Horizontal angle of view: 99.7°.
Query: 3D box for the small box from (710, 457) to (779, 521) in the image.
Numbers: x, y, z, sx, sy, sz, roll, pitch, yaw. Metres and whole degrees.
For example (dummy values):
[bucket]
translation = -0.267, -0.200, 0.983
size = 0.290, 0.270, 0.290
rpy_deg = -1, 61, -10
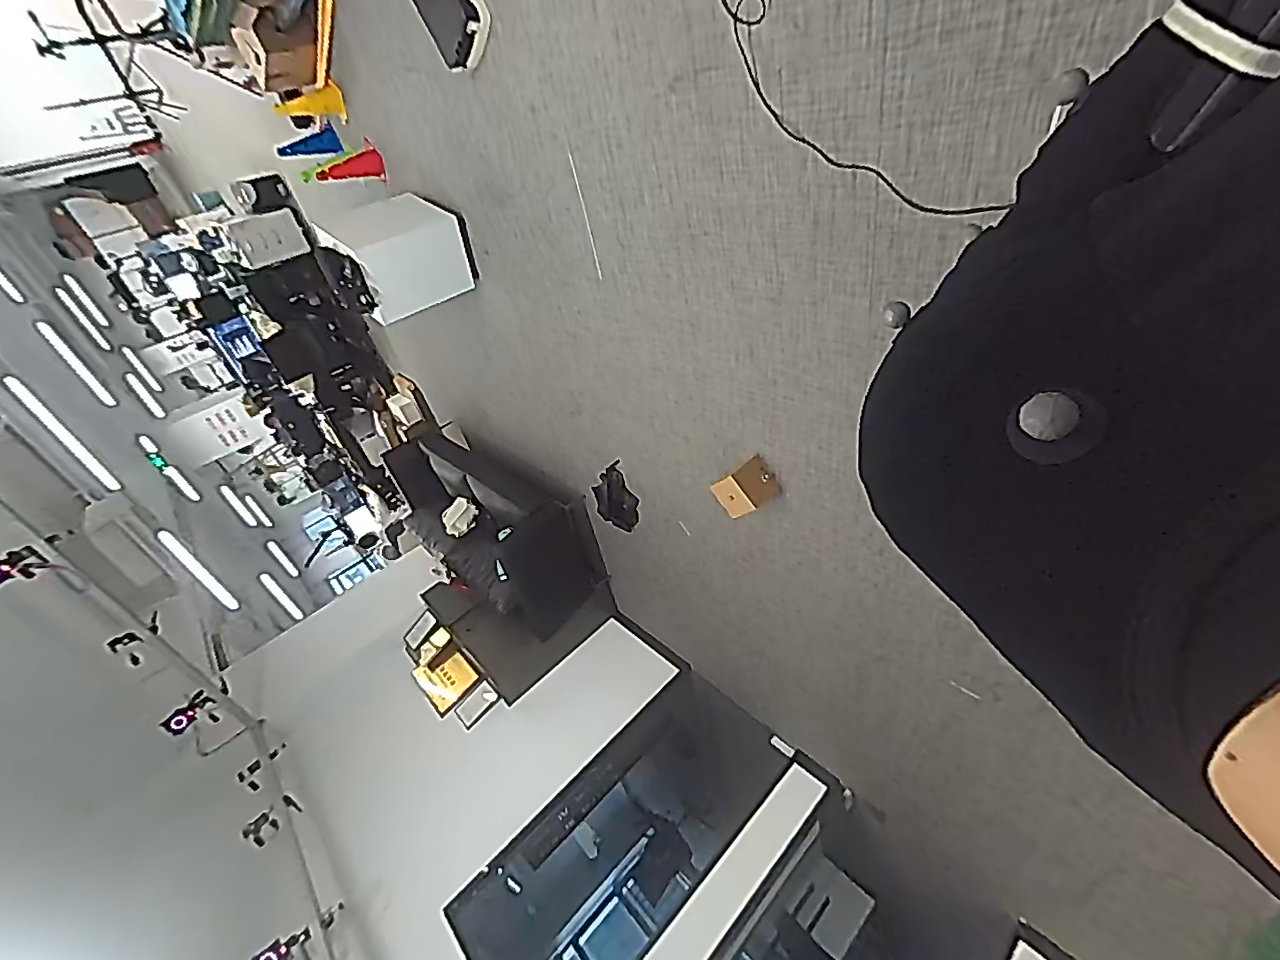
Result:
[small box]
translation = 0.420, 0.036, 2.166
size = 0.168, 0.176, 0.179
rpy_deg = 53, 152, 1
